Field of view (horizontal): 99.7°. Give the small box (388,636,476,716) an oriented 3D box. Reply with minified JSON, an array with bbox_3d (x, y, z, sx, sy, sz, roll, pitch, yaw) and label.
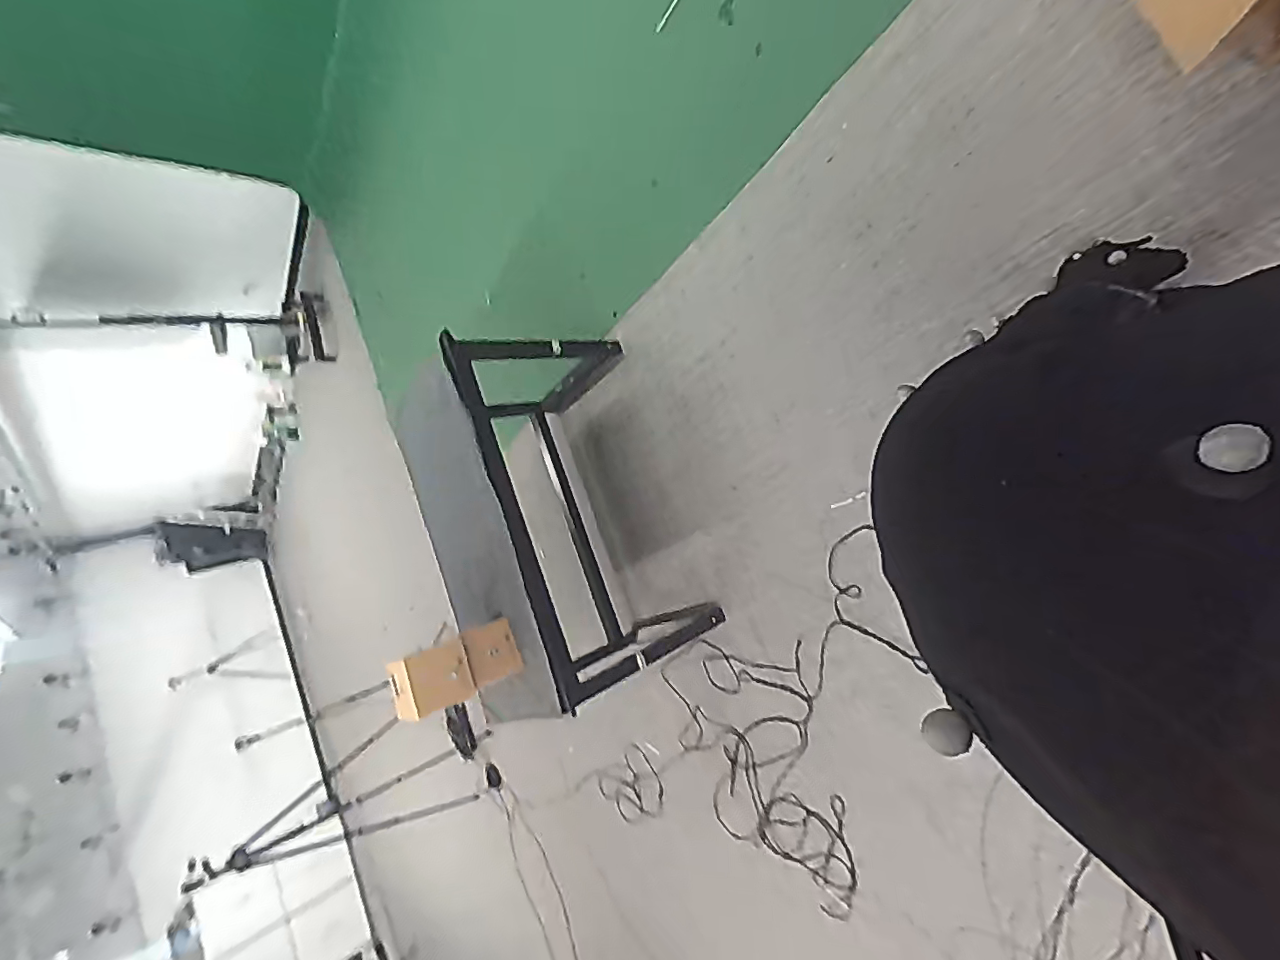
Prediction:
[{"bbox_3d":[-0.592,0.556,1.543,0.179,0.176,0.168,-26,79,46],"label":"small box"}]

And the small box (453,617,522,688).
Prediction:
[{"bbox_3d":[-0.482,0.537,1.664,0.179,0.176,0.168,-38,71,45],"label":"small box"}]
